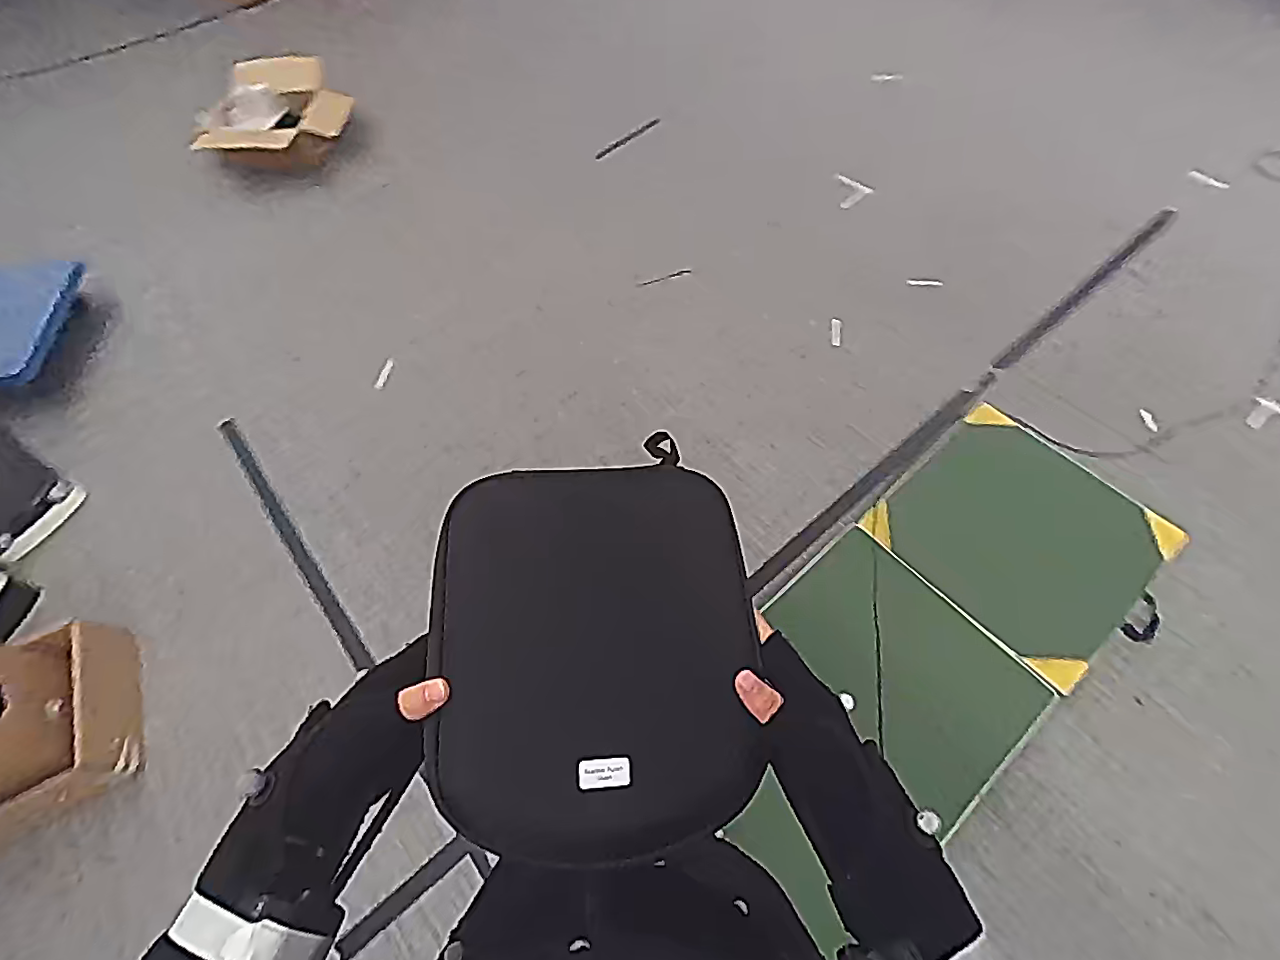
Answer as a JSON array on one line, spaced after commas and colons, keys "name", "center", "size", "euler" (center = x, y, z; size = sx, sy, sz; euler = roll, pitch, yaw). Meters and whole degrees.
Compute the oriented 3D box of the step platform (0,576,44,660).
[{"name": "step platform", "center": [-2.129, 0.331, 1.556], "size": [0.684, 0.204, 0.286], "euler": [16, 65, 12]}]
